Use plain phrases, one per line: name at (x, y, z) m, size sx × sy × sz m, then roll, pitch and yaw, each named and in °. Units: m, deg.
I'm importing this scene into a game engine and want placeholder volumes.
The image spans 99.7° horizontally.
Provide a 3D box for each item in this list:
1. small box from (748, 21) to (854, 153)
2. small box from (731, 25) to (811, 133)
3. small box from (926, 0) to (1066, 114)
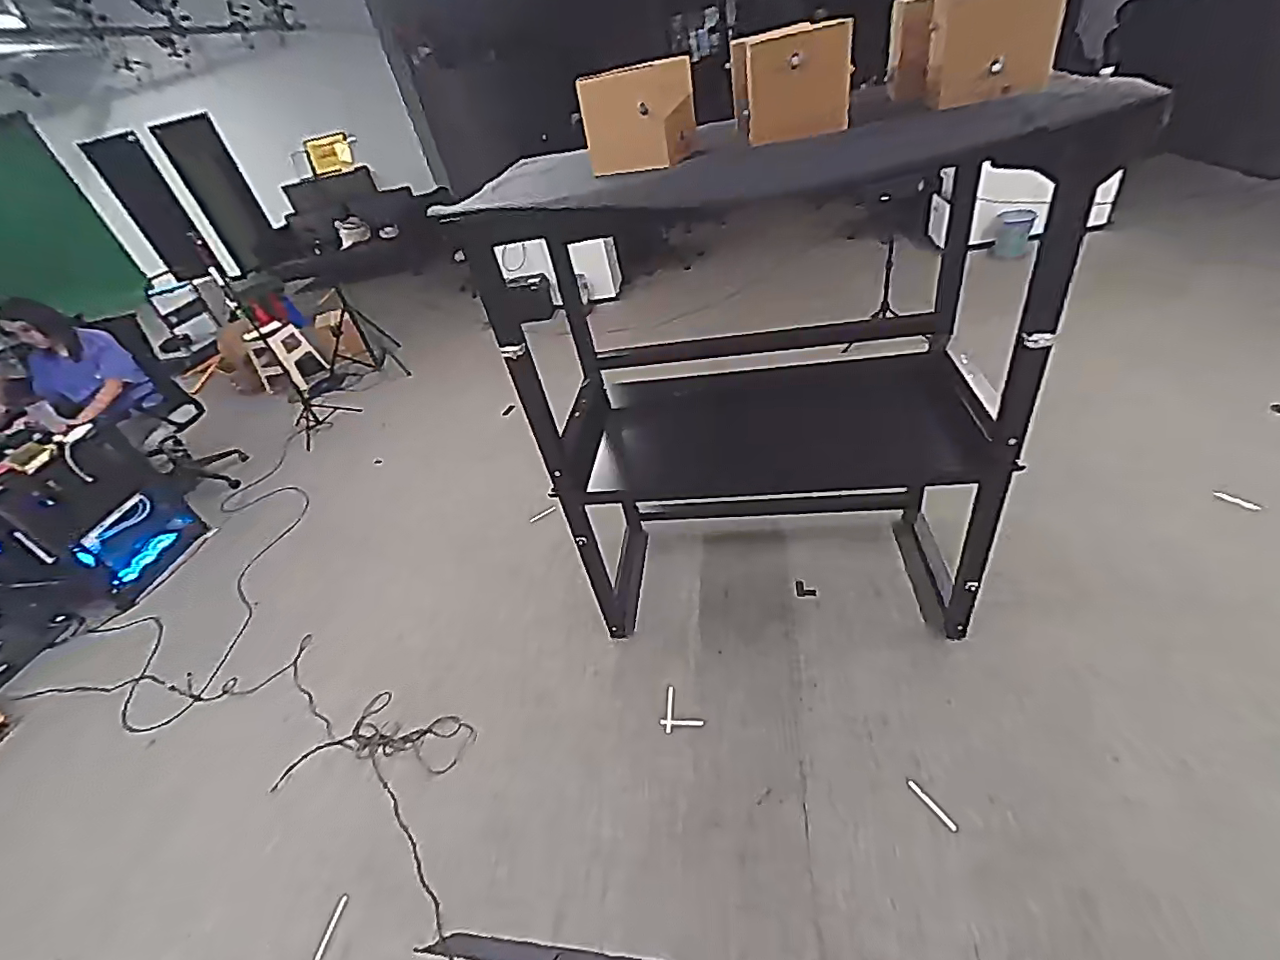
small box at (0.301, -0.751, 1.037) m, size 0.179 × 0.176 × 0.168 m, roll -4°, pitch 39°, yaw 13°
small box at (0.298, -0.910, 1.232) m, size 0.168 × 0.176 × 0.179 m, roll -4°, pitch 39°, yaw 13°
small box at (0.615, -0.766, 0.955) m, size 0.168 × 0.176 × 0.179 m, roll 1°, pitch 40°, yaw 19°
